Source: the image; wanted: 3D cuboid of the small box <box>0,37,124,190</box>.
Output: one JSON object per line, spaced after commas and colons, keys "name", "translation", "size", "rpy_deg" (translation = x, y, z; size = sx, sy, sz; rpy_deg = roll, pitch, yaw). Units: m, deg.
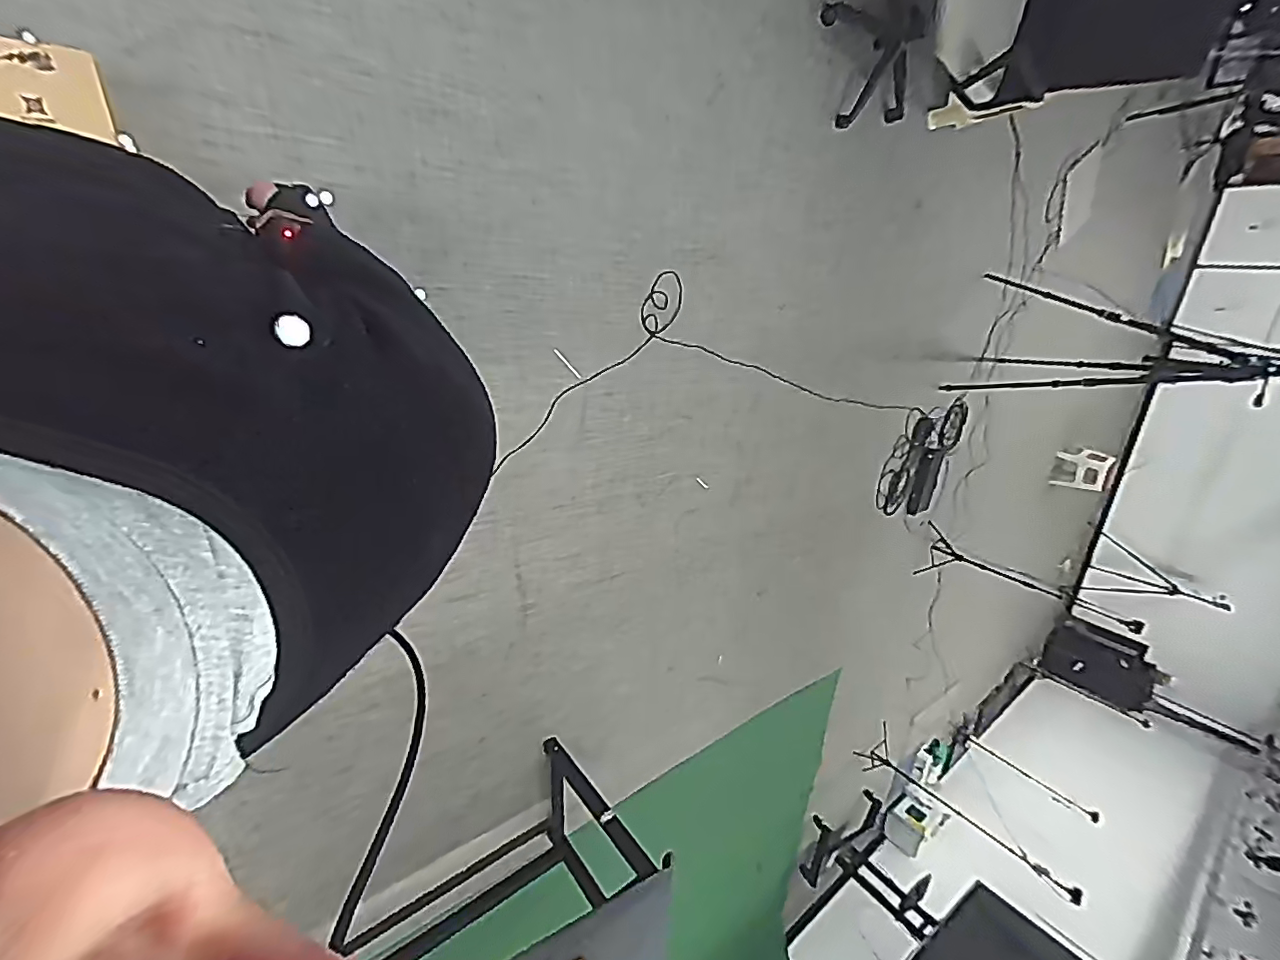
{"name": "small box", "translation": [-0.926, -0.548, 0.823], "size": [0.168, 0.176, 0.179], "rpy_deg": [-16, 118, -35]}
